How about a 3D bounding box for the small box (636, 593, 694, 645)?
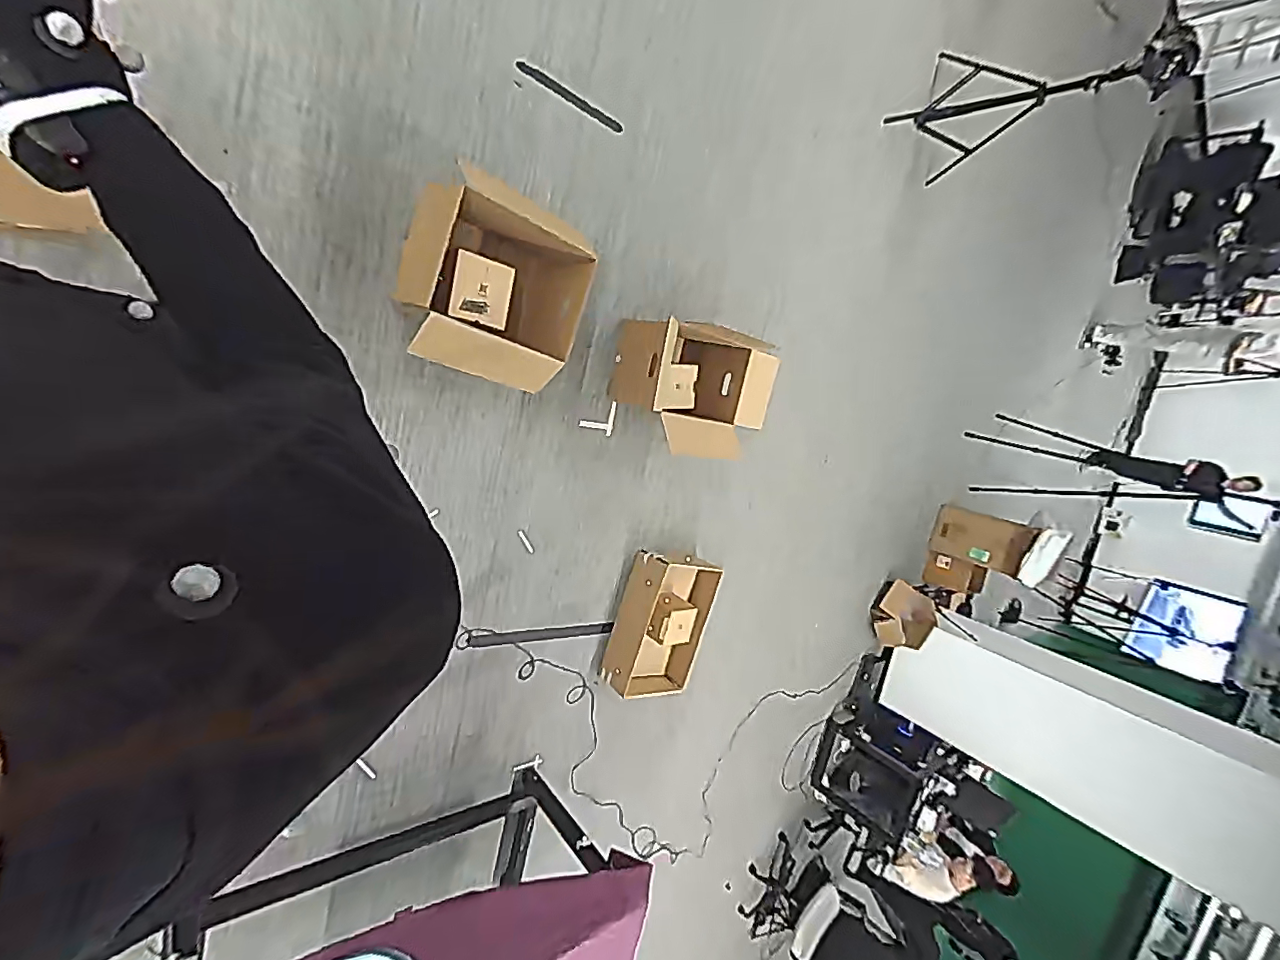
[{"bbox_3d":[0.108,0.616,2.411,0.179,0.176,0.168,7,101,-43],"label":"small box"}]
